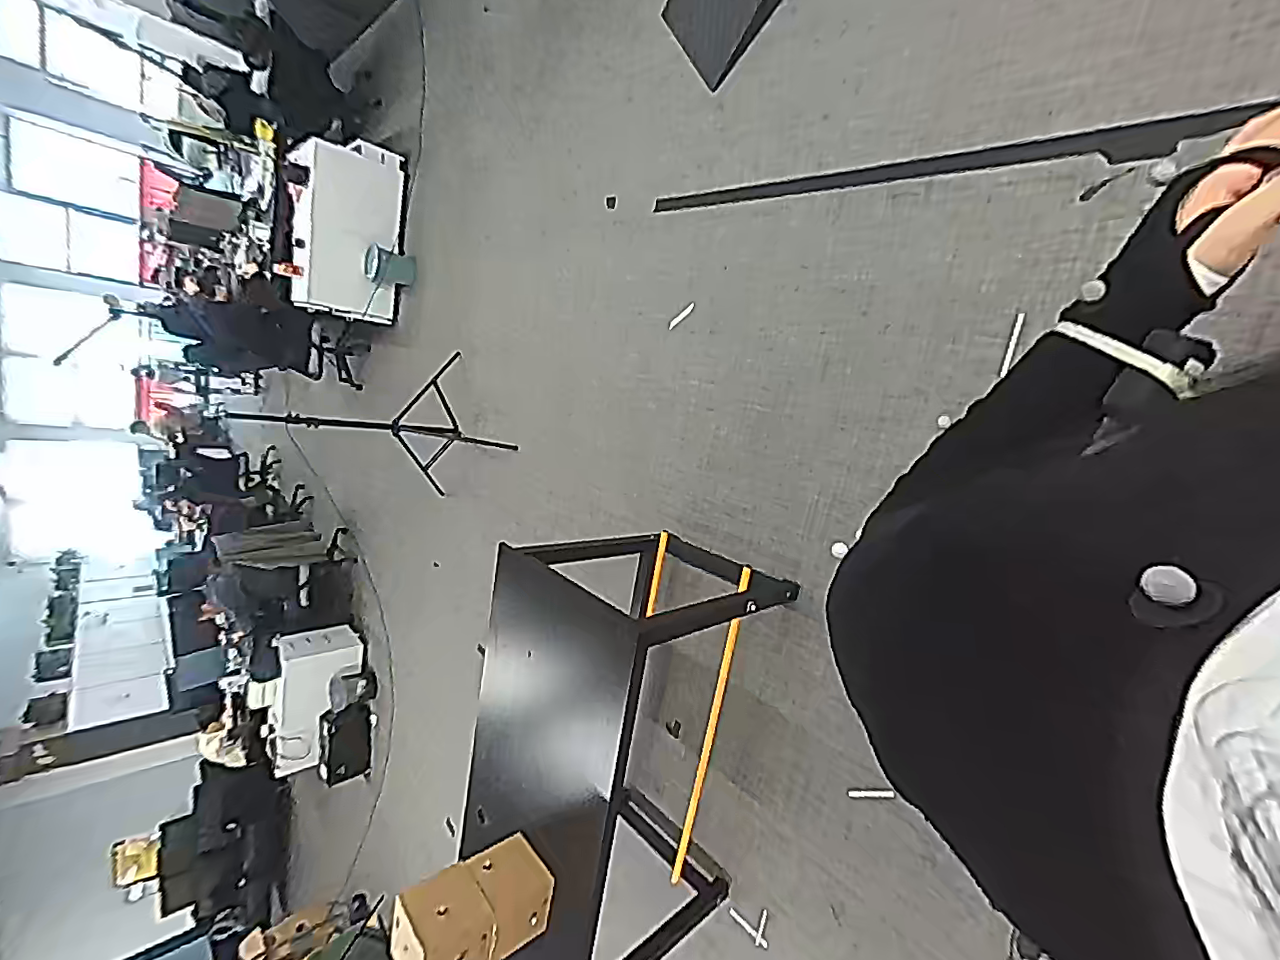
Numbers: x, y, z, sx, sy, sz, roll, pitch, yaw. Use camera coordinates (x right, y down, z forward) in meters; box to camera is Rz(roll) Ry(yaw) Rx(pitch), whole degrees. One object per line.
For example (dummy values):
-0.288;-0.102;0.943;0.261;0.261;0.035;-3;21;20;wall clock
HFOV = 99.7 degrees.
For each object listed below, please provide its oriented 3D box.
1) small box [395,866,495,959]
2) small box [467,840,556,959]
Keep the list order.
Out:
-0.468;1.085;1.300;0.179;0.176;0.168;18;103;44;small box
-0.344;1.084;1.407;0.179;0.176;0.168;22;106;43;small box
